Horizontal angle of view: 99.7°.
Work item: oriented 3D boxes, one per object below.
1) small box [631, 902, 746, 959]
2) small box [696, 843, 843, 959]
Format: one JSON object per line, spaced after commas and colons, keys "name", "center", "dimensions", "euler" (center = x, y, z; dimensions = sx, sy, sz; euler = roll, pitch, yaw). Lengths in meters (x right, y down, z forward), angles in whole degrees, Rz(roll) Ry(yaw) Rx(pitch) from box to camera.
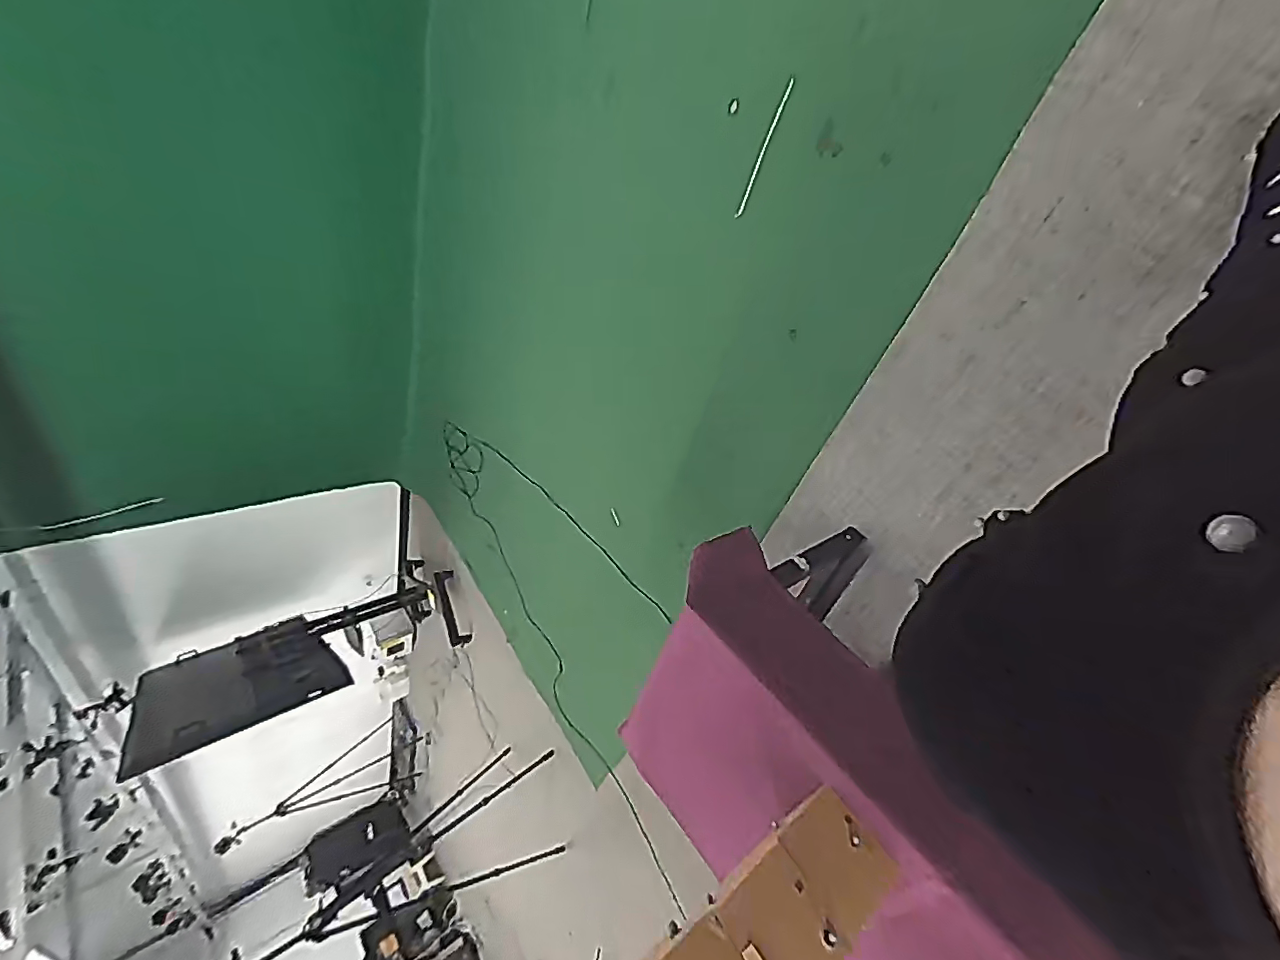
{"name": "small box", "center": [0.067, 0.747, 0.753], "dimensions": [0.179, 0.176, 0.168], "euler": [51, 134, 28]}
{"name": "small box", "center": [0.190, 0.721, 0.857], "dimensions": [0.168, 0.176, 0.179], "euler": [49, 135, 29]}
